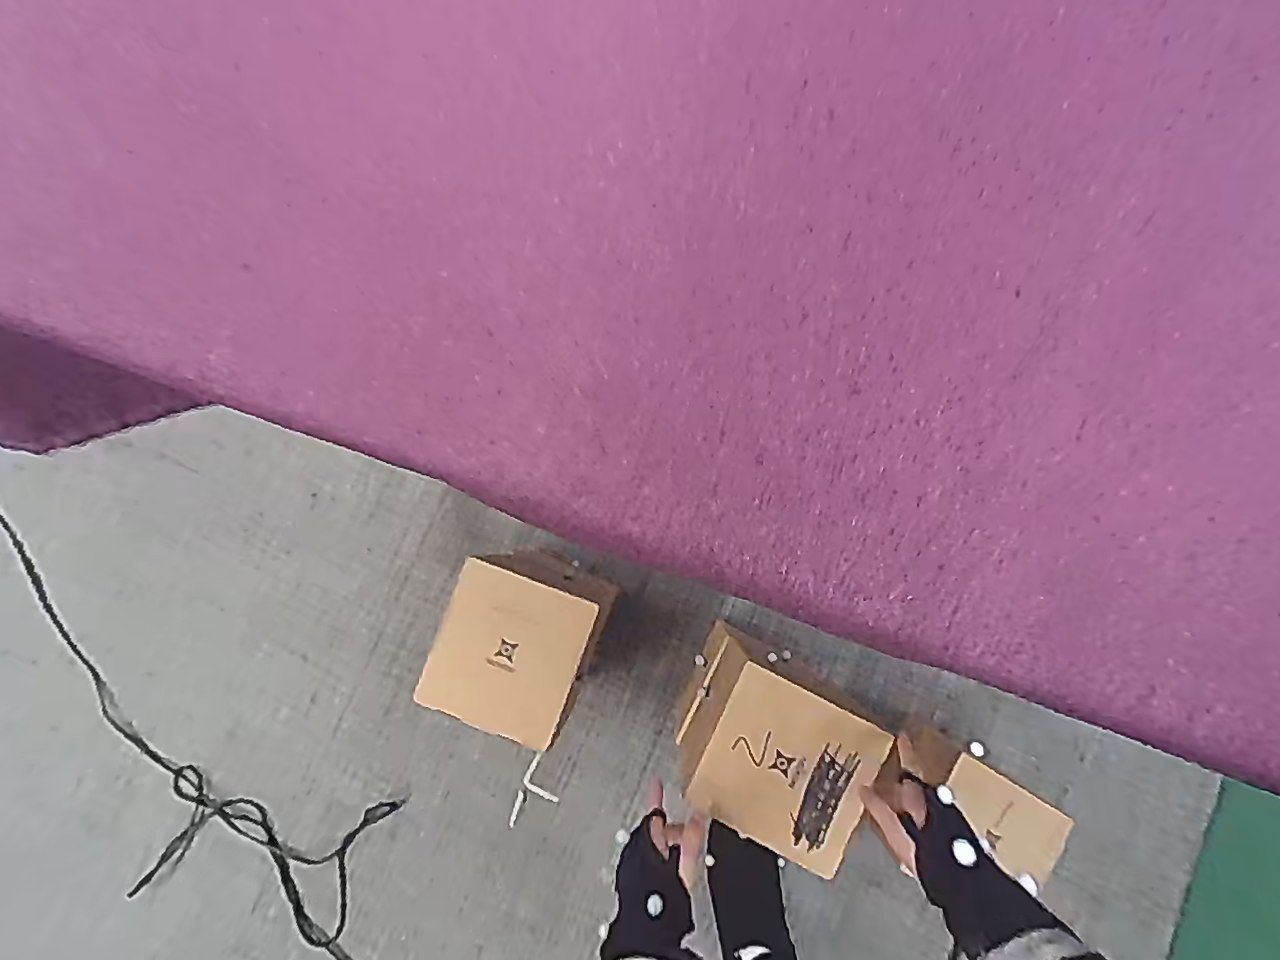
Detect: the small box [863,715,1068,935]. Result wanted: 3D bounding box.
[{"bbox_3d":[0.453,0.482,0.788,0.168,0.176,0.179,31,85,6],"label":"small box"}]
